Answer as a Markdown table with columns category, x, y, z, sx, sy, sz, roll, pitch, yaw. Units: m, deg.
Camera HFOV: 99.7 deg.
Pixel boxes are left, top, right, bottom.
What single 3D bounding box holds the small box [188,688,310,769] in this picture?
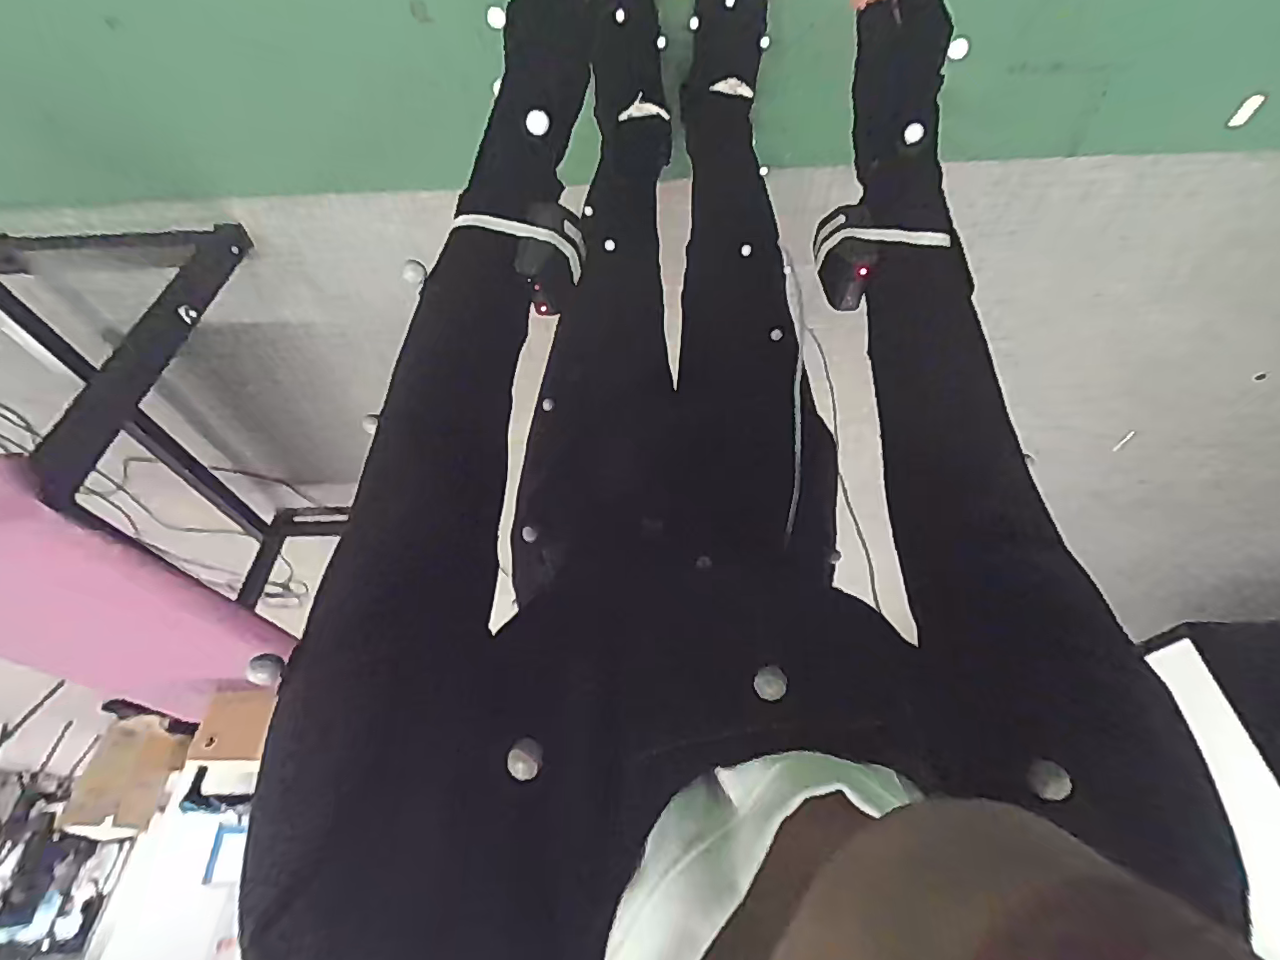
| category | x | y | z | sx | sy | sz | roll | pitch | yaw |
| --- | --- | --- | --- | --- | --- | --- | --- | --- | --- |
| small box | -1.028 | 0.659 | 1.439 | 0.179 | 0.176 | 0.168 | 0 | 144 | 1 |
